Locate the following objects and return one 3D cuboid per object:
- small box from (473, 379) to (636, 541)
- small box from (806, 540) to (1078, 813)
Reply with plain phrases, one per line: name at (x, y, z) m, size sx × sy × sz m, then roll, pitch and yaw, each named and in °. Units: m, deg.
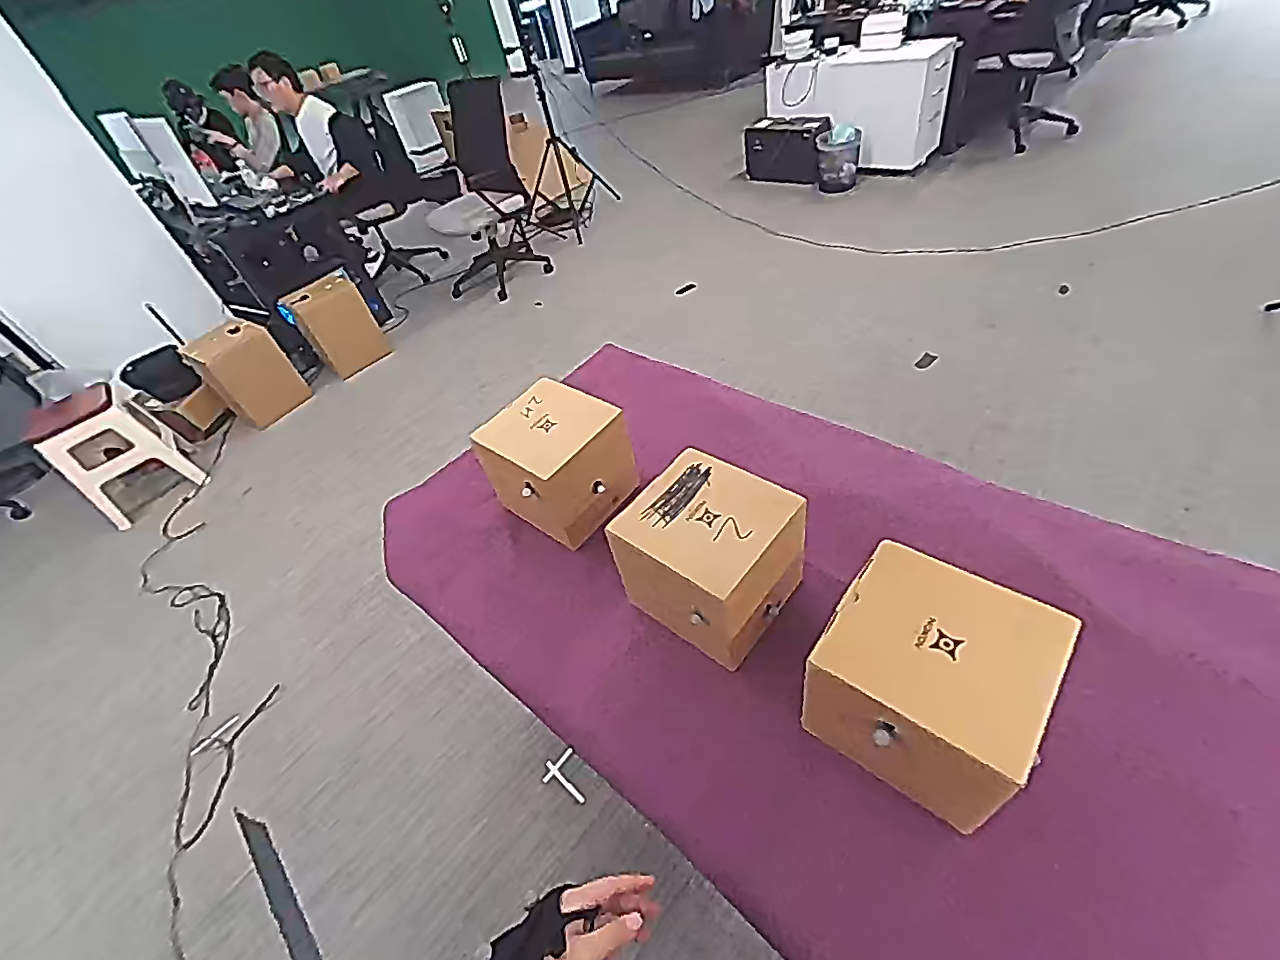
small box at (-0.125, -0.028, 0.865) m, size 0.179 × 0.176 × 0.168 m, roll 26°, pitch 57°, yaw 31°
small box at (0.285, 0.198, 0.542) m, size 0.179 × 0.176 × 0.168 m, roll 25°, pitch 57°, yaw 34°
